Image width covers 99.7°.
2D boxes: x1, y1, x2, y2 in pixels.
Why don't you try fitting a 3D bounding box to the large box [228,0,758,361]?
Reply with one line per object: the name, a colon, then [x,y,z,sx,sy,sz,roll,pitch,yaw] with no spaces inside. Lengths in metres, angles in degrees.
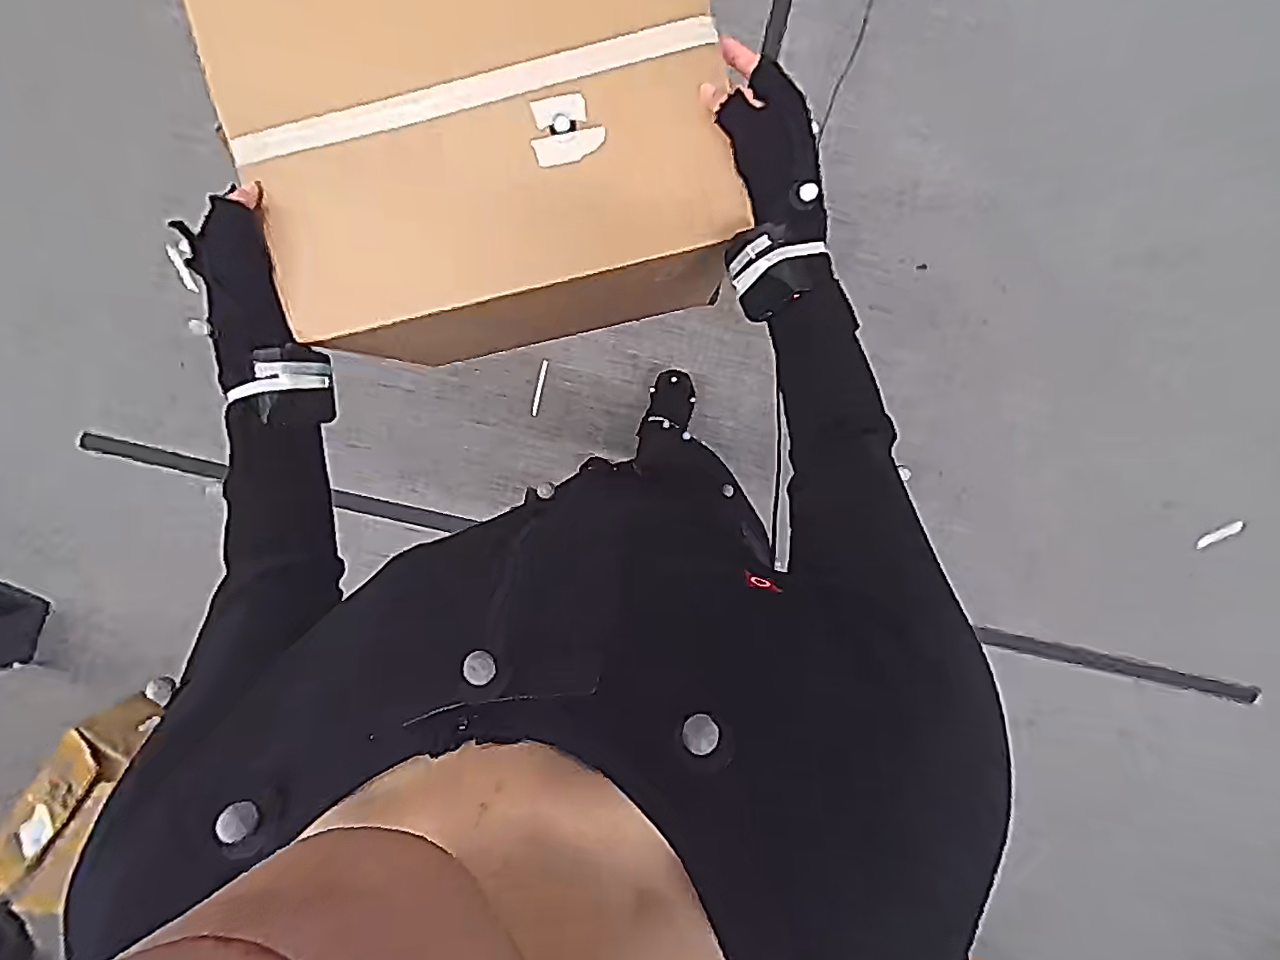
large box: [-0.123,-0.340,0.605,0.408,0.320,0.320,-12,98,1]
